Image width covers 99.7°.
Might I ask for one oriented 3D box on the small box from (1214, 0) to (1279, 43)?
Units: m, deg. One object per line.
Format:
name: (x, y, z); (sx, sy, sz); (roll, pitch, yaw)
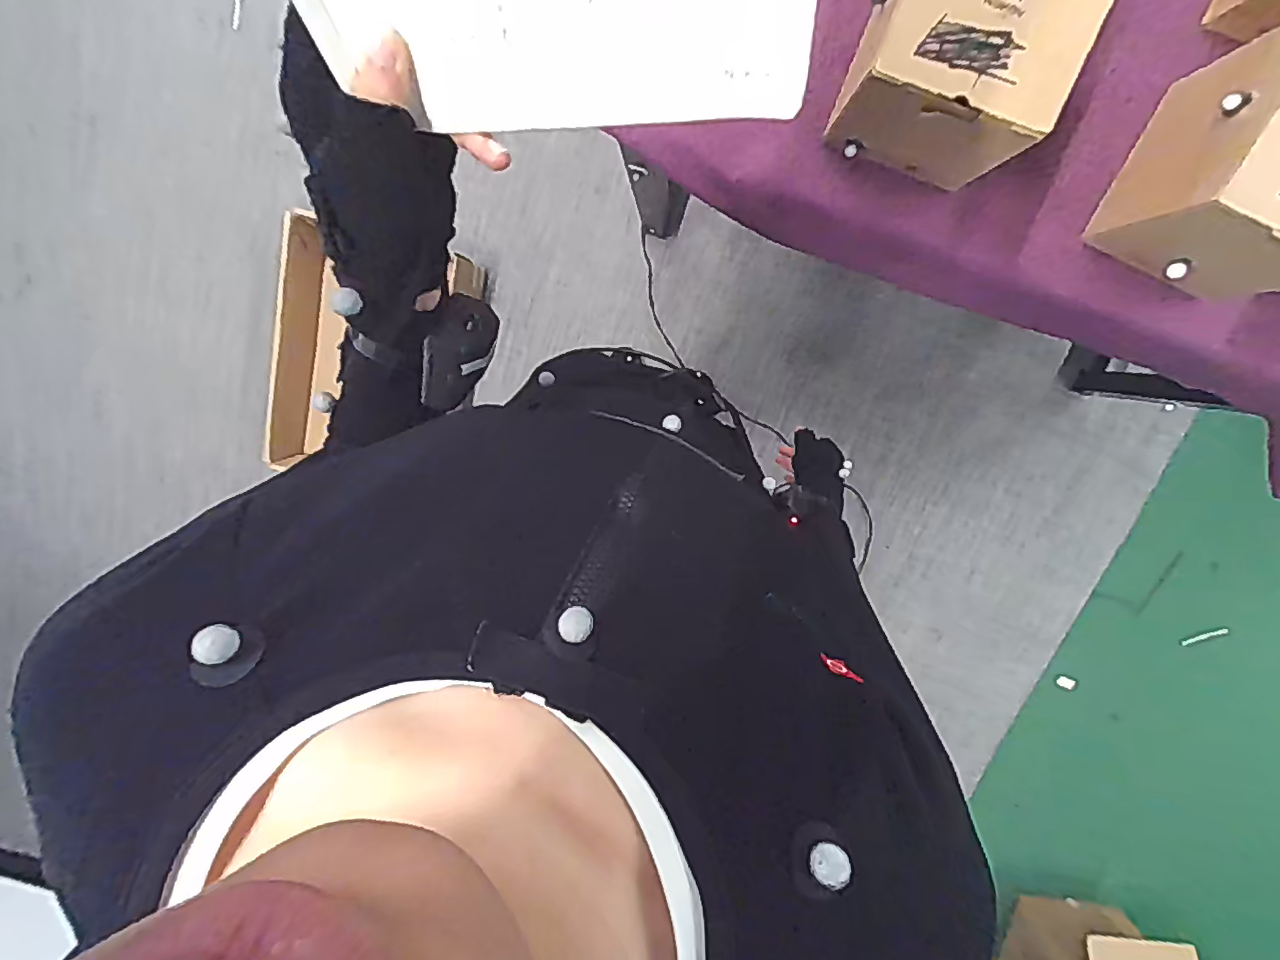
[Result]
small box: (0.691, -0.513, 0.479); (0.168, 0.176, 0.179); (19, 104, -1)

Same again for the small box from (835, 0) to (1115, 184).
small box: (0.310, -0.420, 0.523); (0.168, 0.176, 0.179); (21, 104, -1)

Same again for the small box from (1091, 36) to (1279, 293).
small box: (0.612, -0.305, 0.532); (0.168, 0.176, 0.179); (24, 104, -2)
